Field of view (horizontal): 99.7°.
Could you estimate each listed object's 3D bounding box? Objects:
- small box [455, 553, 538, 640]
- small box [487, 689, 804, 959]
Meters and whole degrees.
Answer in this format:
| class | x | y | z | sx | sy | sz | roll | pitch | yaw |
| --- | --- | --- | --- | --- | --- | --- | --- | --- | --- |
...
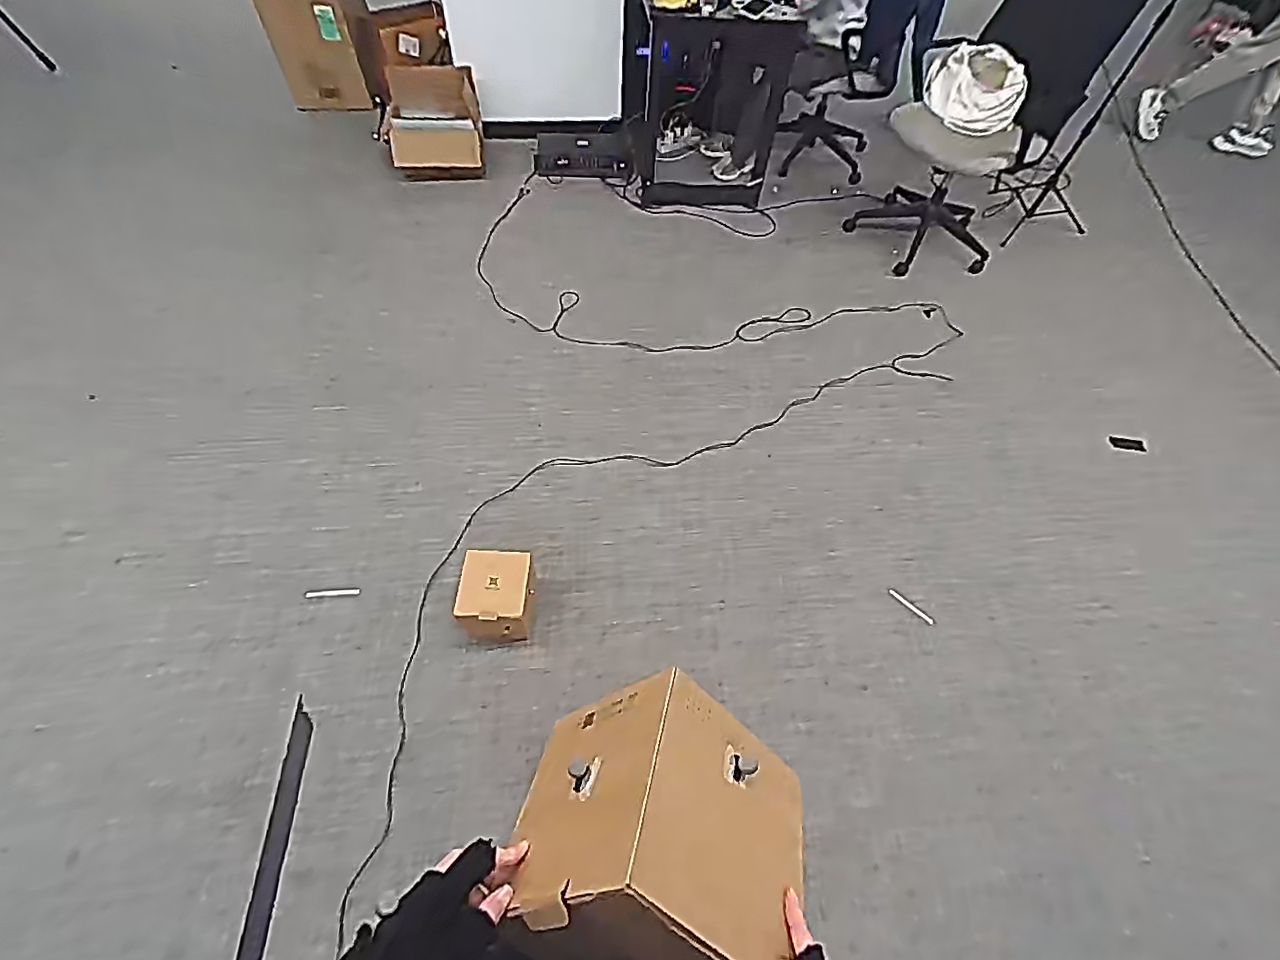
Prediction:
| class | x | y | z | sx | sy | sz | roll | pitch | yaw |
| --- | --- | --- | --- | --- | --- | --- | --- | --- | --- |
| small box | -0.363 | 0.307 | 1.405 | 0.168 | 0.176 | 0.179 | 3 | 56 | -2 |
| small box | 0.016 | 0.300 | 0.451 | 0.179 | 0.168 | 0.176 | 46 | 32 | -14 |
